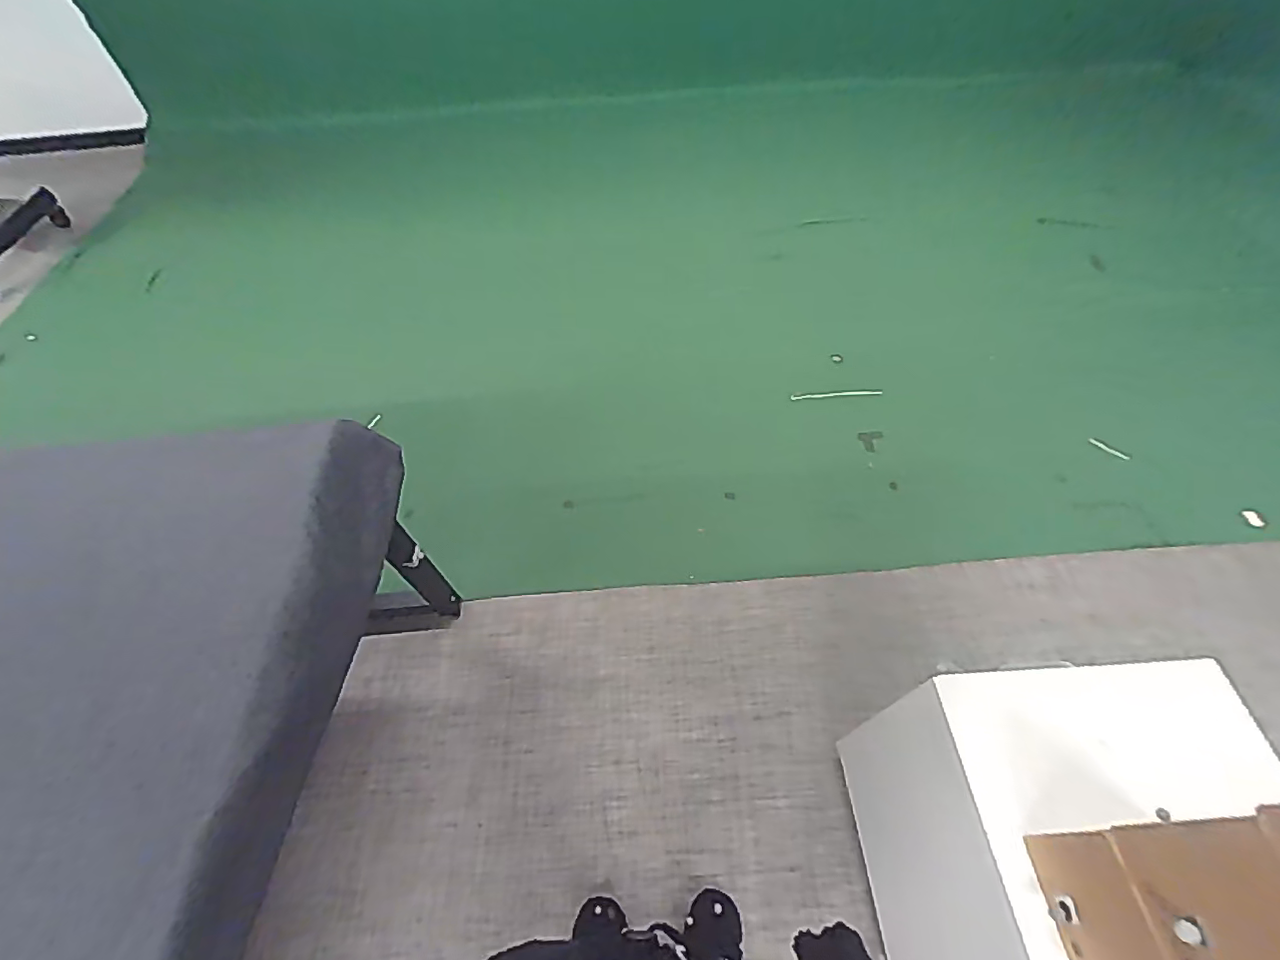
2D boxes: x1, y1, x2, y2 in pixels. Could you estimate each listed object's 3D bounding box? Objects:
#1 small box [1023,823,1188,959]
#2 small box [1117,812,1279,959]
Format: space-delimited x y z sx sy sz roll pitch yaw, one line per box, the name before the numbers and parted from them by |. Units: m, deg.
small box | 0.542 0.445 0.540 0.179 0.176 0.168 -6 54 1
small box | 0.536 0.350 0.406 0.179 0.176 0.168 -6 55 -2
